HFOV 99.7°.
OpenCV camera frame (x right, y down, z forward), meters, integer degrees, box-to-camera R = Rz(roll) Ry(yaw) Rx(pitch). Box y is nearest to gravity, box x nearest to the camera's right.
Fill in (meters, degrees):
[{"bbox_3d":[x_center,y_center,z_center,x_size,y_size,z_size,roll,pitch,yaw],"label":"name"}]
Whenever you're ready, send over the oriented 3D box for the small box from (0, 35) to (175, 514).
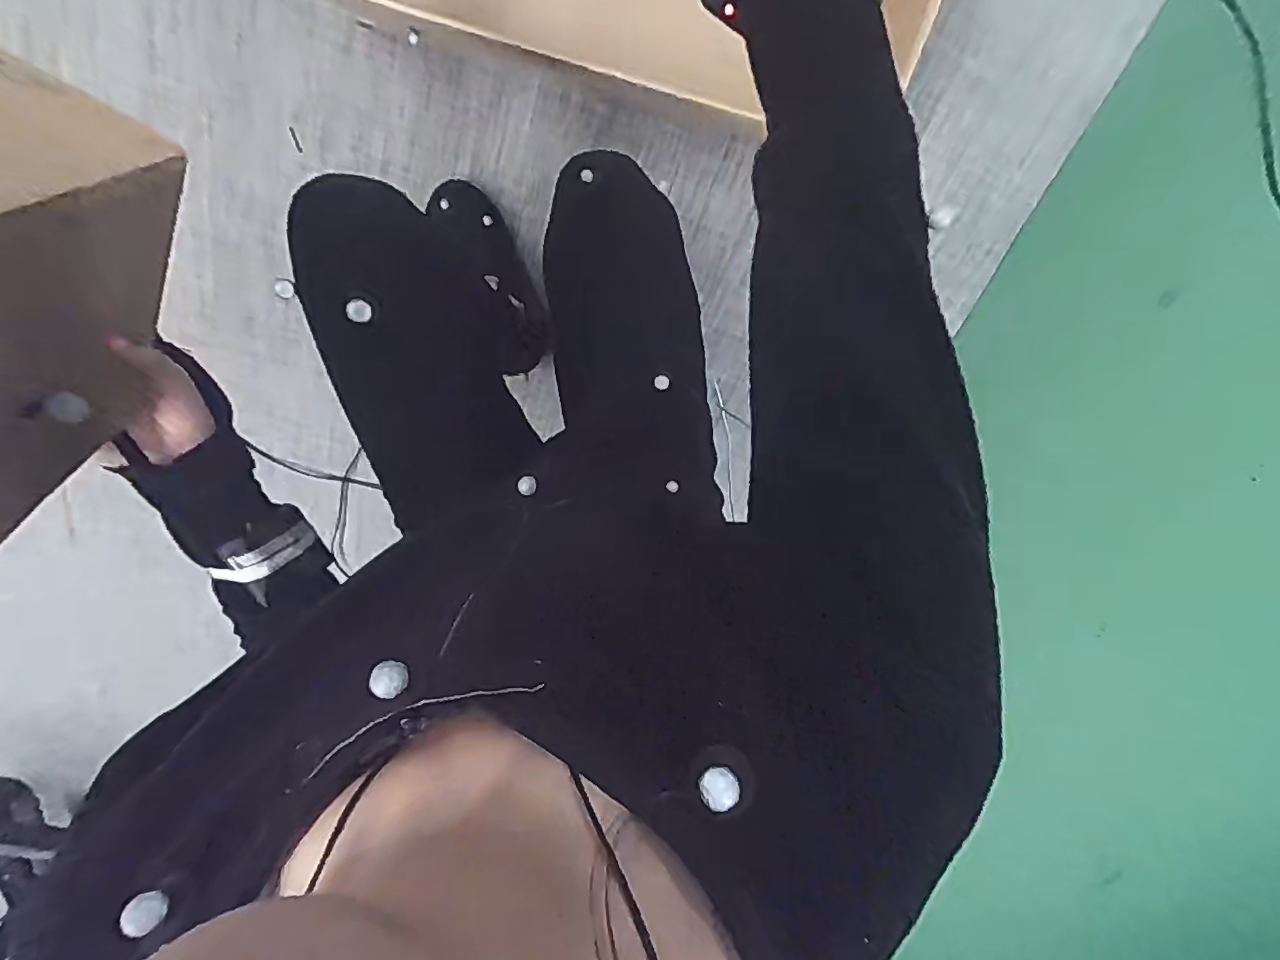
[{"bbox_3d":[-0.319,-0.084,0.202,0.168,0.176,0.179,23,120,-29],"label":"small box"}]
